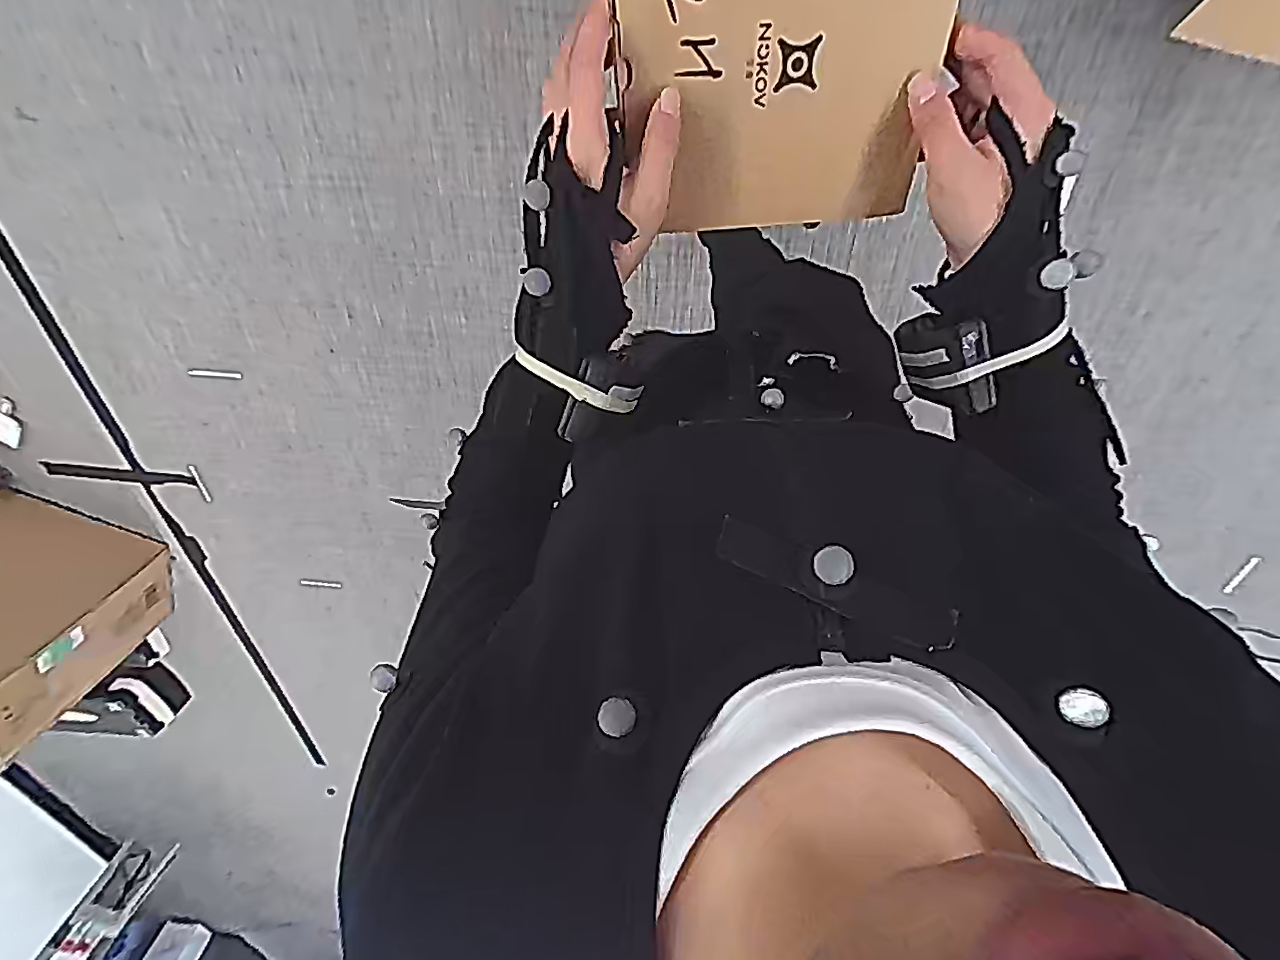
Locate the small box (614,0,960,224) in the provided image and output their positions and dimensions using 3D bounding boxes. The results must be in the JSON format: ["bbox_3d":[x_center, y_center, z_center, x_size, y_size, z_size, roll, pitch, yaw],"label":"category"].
[{"bbox_3d":[0.074,-0.281,0.343,0.179,0.176,0.168,-3,134,1],"label":"small box"}]
